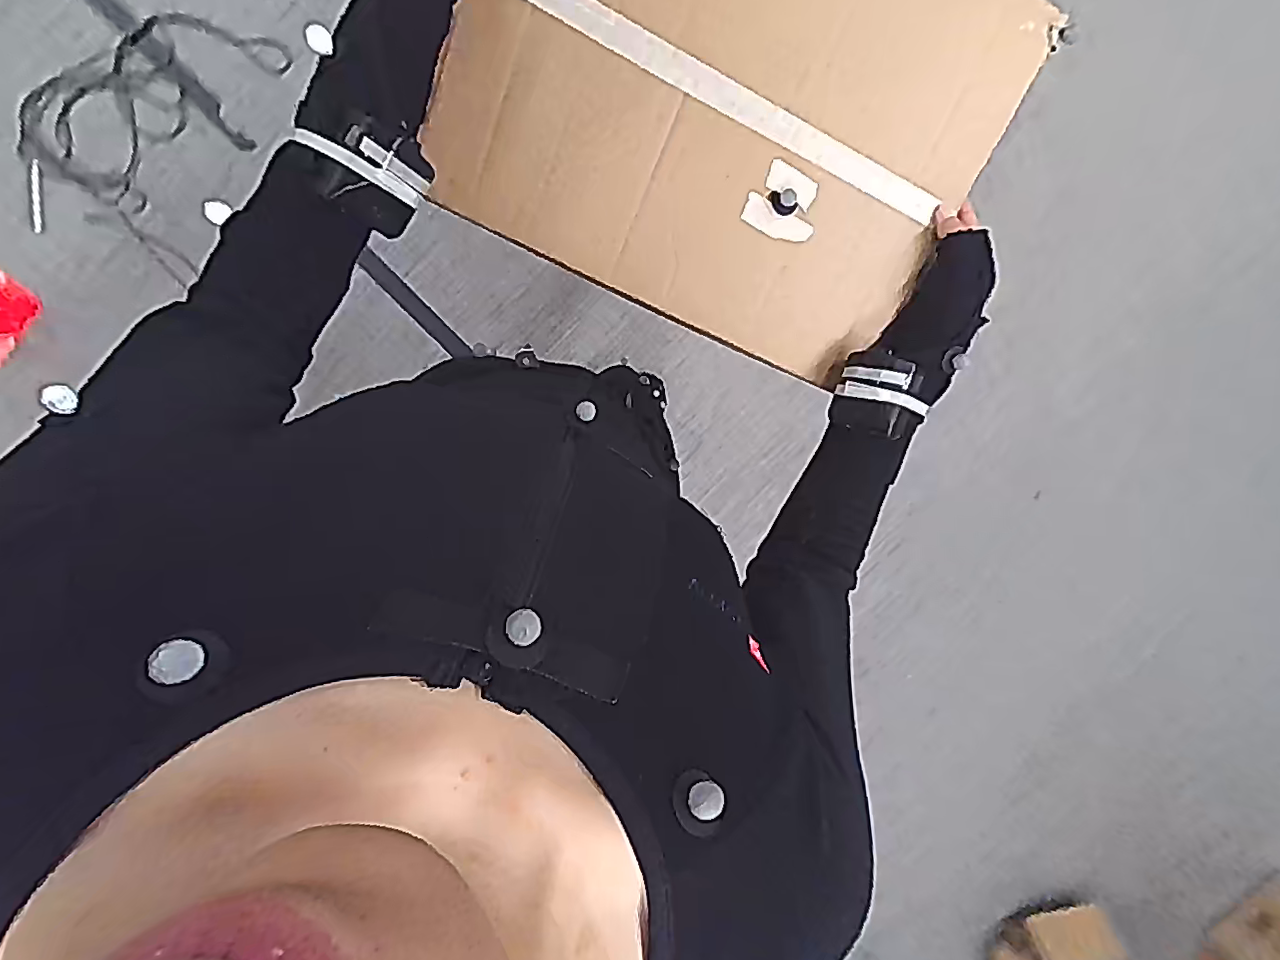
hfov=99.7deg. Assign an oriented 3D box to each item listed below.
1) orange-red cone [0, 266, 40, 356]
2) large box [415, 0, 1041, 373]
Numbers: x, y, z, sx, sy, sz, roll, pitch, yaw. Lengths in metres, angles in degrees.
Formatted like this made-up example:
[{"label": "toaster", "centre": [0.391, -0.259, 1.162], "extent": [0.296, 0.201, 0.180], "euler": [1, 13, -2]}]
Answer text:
[{"label": "orange-red cone", "centre": [-1.458, -0.362, 1.042], "extent": [0.199, 0.360, 0.198], "euler": [42, 95, -15]}, {"label": "large box", "centre": [0.051, -0.342, 0.547], "extent": [0.408, 0.320, 0.320], "euler": [20, 107, -12]}]
